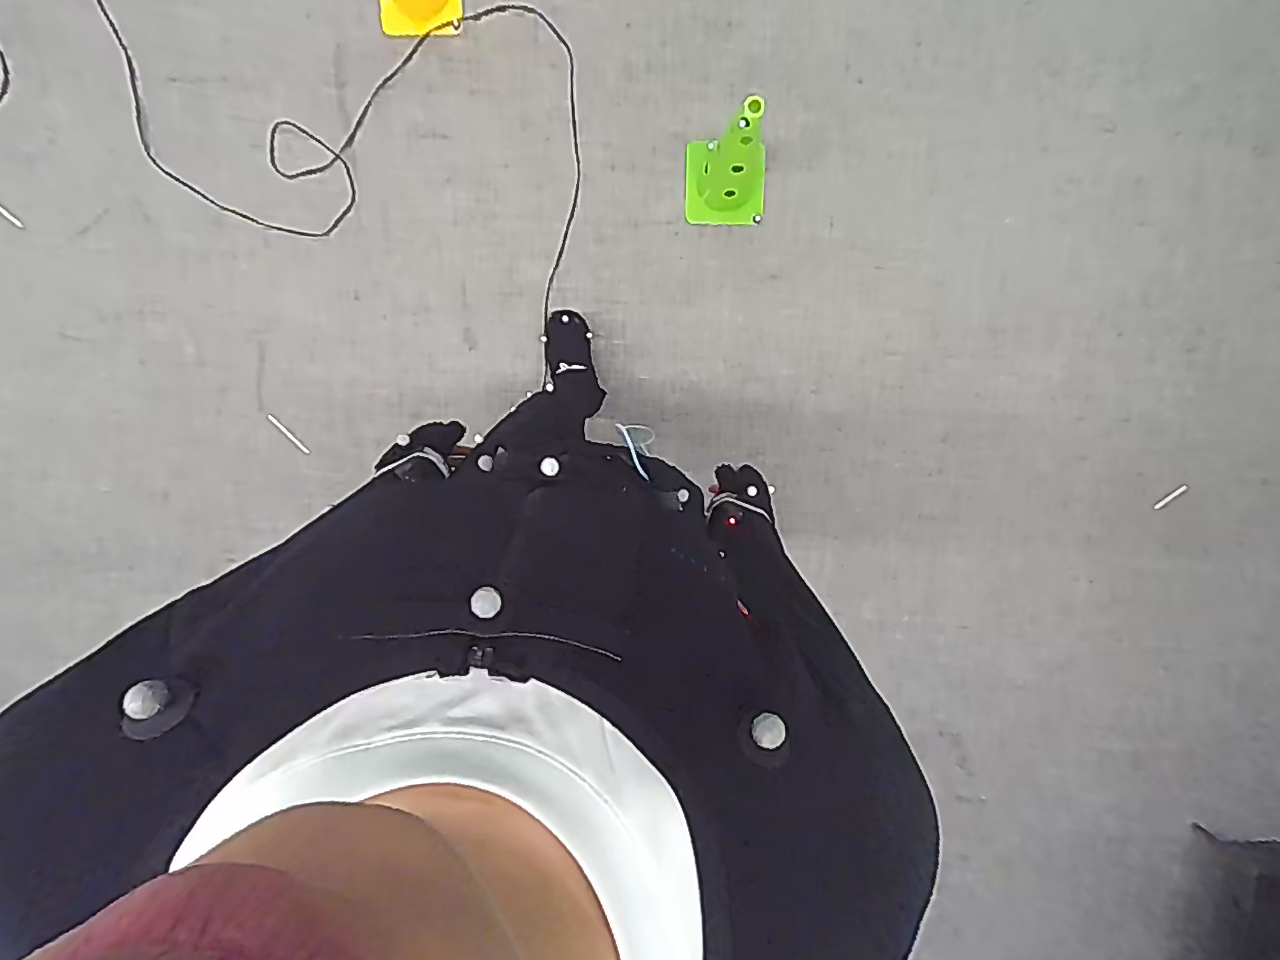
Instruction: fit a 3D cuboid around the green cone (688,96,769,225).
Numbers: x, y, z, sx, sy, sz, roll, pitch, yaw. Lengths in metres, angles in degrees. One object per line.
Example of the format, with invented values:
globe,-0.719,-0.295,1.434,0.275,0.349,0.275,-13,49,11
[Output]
green cone,0.221,-0.735,1.205,0.202,0.368,0.200,1,96,1
